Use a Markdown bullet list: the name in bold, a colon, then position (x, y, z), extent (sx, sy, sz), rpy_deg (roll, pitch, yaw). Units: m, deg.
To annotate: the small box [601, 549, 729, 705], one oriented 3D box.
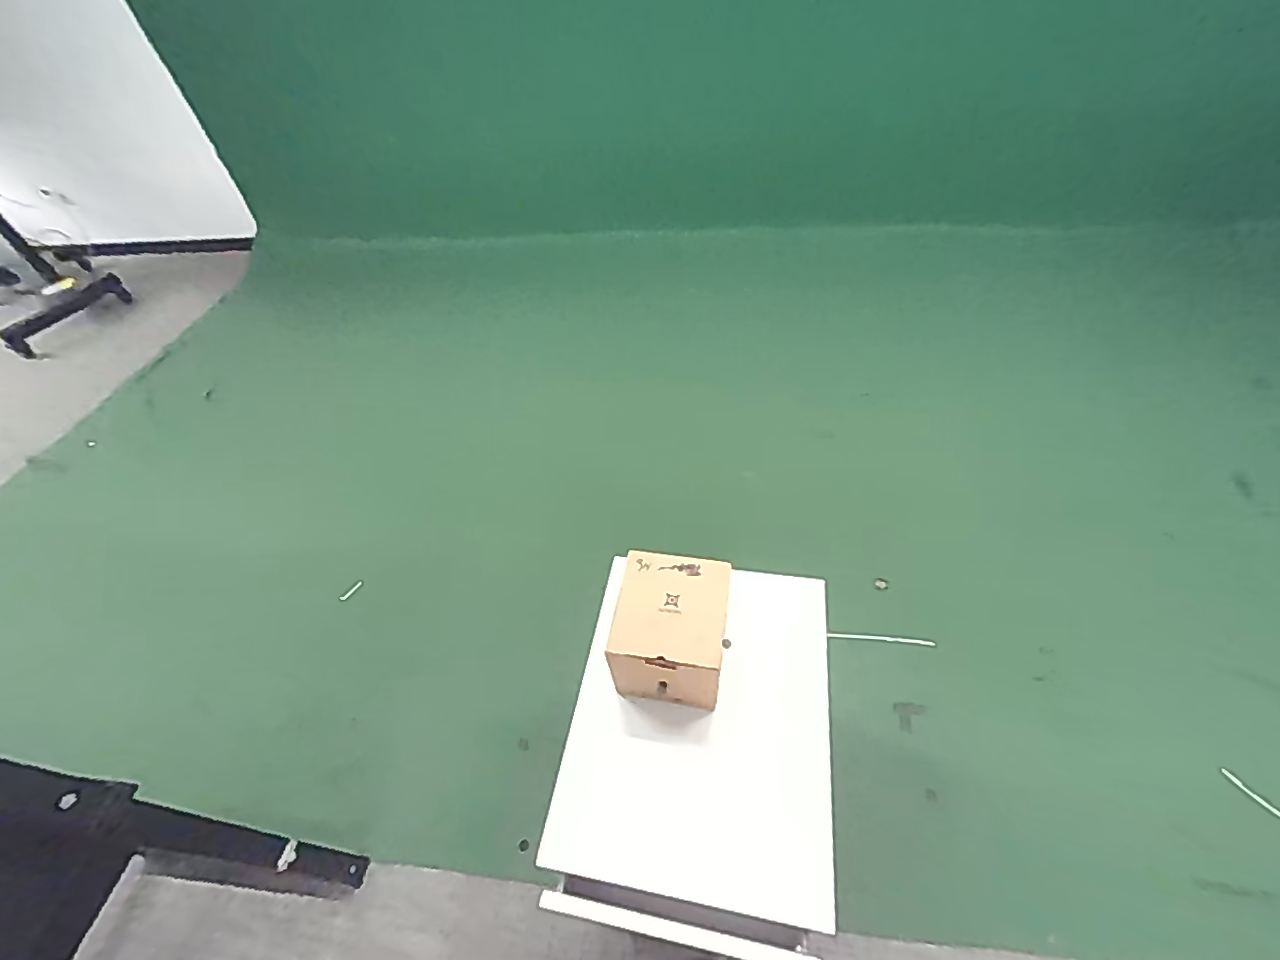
- **small box**: position (0.047, 0.235, 0.851), extent (0.168, 0.176, 0.179), rpy_deg (6, 51, 11)
